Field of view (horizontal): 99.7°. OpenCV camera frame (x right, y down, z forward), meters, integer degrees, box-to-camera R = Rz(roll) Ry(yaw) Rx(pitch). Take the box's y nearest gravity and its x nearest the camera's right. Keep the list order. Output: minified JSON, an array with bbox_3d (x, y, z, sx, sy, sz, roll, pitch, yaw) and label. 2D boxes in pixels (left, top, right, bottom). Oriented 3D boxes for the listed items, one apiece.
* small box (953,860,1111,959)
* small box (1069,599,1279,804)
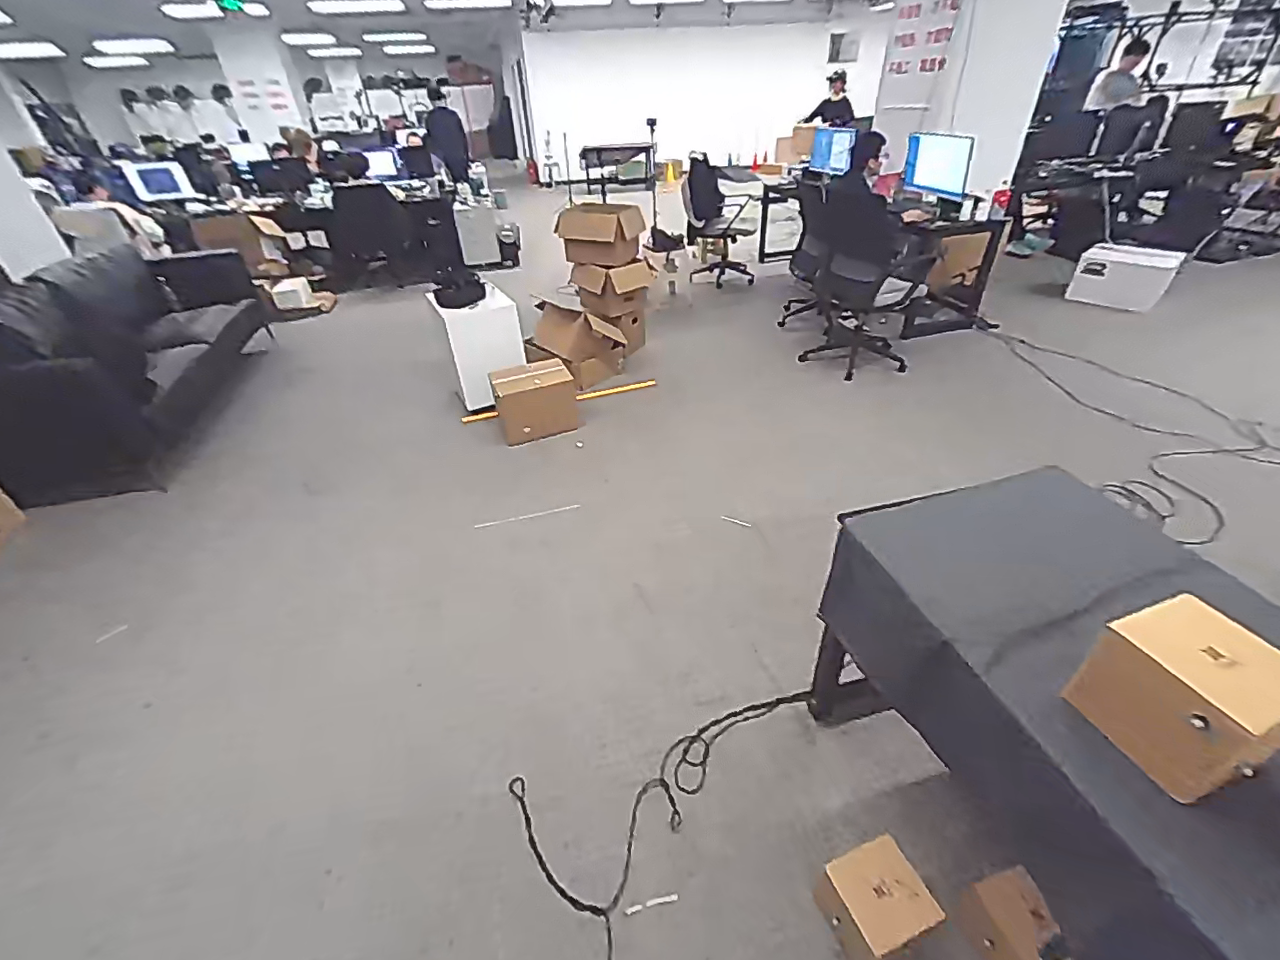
[{"bbox_3d":[0.788,0.932,1.108,0.168,0.176,0.179,-12,36,-11],"label":"small box"},{"bbox_3d":[0.755,0.300,0.746,0.168,0.176,0.179,-13,38,-14],"label":"small box"}]
